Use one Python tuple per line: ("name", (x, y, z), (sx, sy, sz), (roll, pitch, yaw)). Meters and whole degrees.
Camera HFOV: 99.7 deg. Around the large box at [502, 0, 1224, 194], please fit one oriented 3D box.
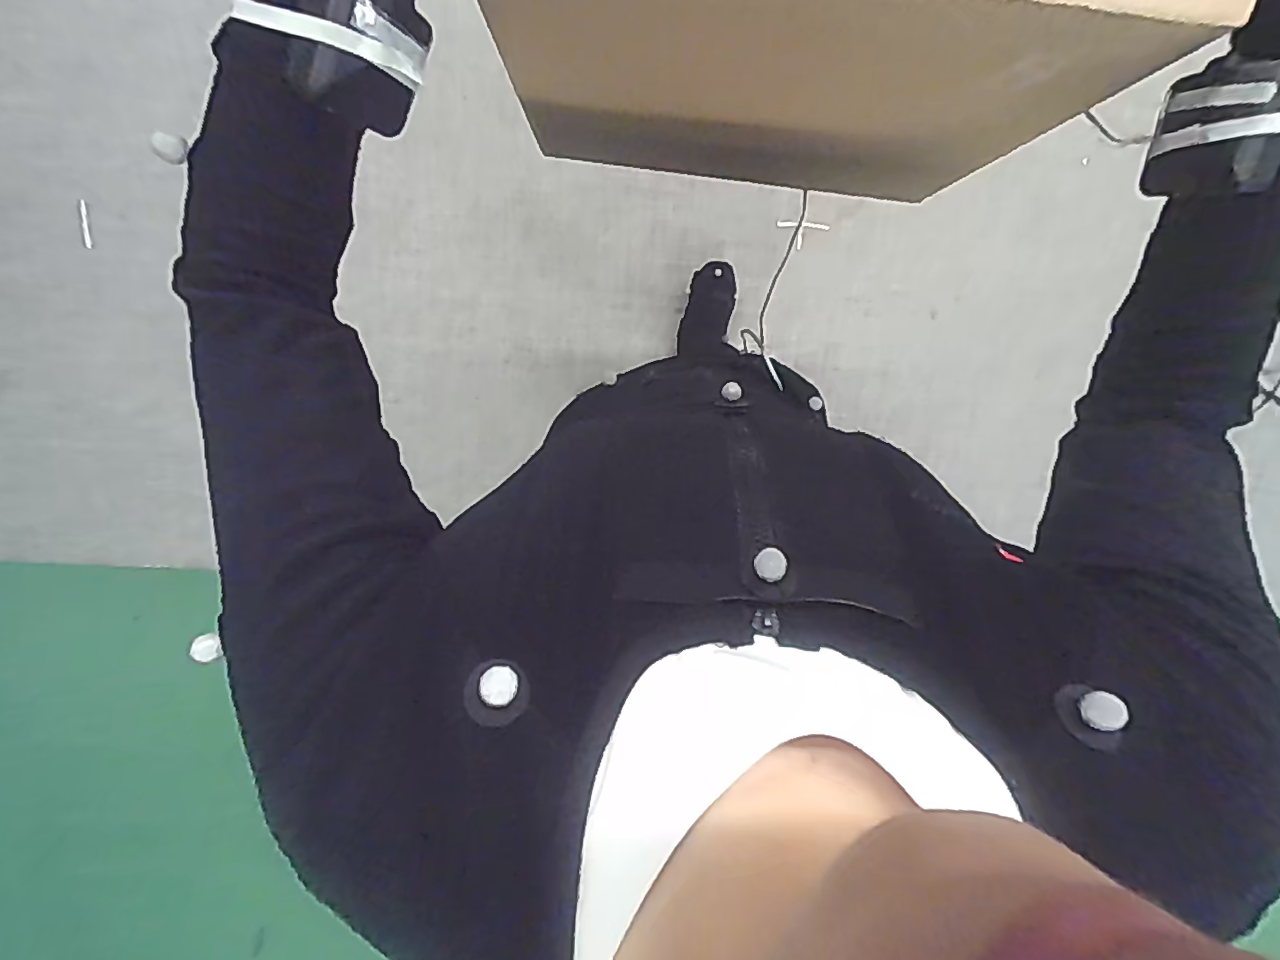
("large box", (0.119, -0.436, 0.395), (0.408, 0.320, 0.320), (5, 102, -3))
